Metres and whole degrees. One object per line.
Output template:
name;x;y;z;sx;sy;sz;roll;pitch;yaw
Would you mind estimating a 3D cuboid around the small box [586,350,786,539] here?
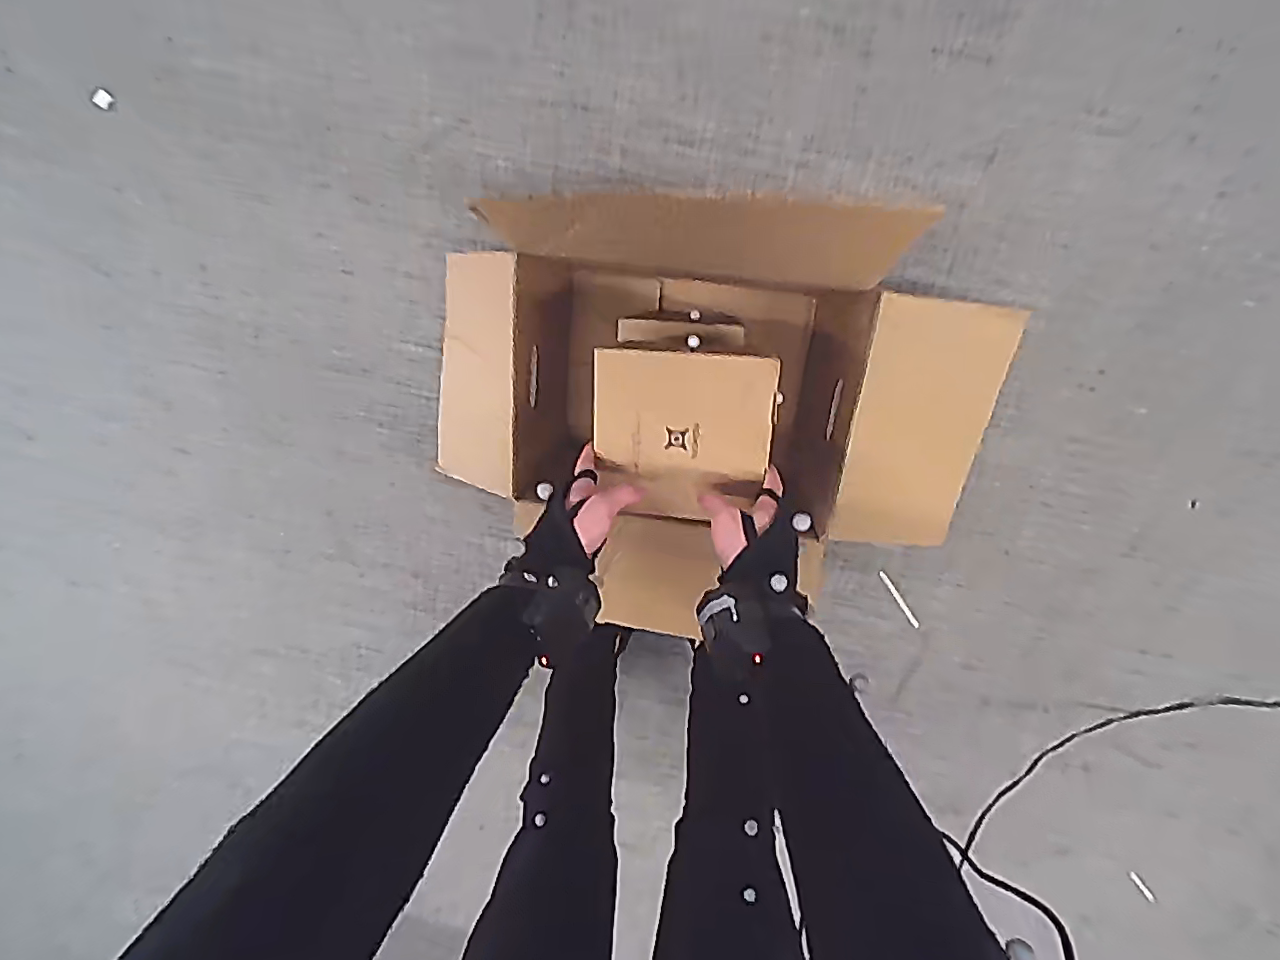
small box;0.048;-0.050;0.591;0.179;0.176;0.168;7;106;6
